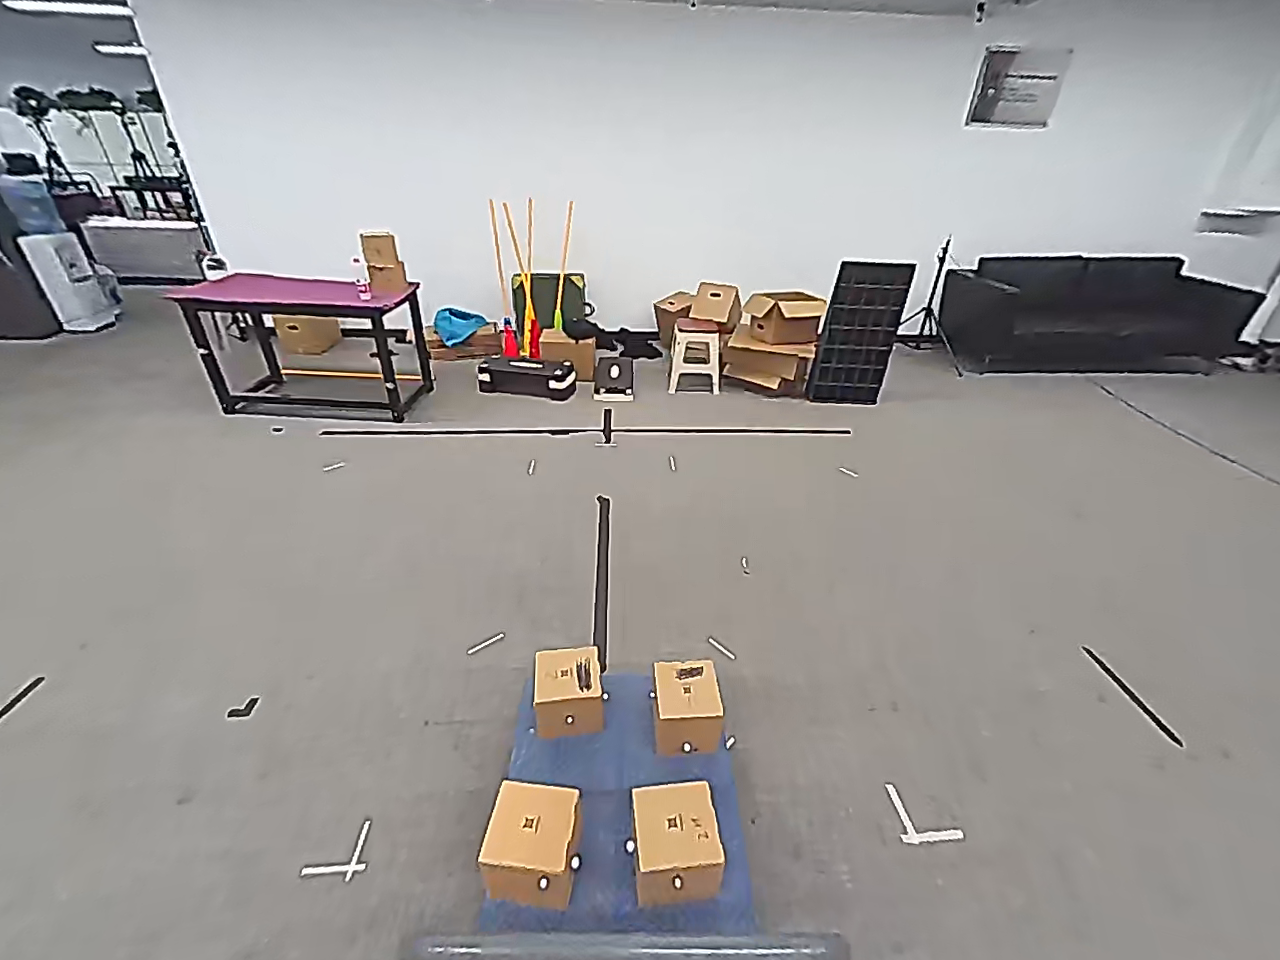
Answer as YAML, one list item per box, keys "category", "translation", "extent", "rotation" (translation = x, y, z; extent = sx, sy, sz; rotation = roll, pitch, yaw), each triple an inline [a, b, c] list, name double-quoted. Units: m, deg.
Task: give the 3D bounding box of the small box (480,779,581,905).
- category: "small box"
  translation: [-0.231, 0.791, 1.181]
  extent: [0.179, 0.176, 0.168]
  rotation: [6, 31, 3]

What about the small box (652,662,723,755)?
- category: "small box"
  translation: [0.124, 0.621, 1.475]
  extent: [0.168, 0.176, 0.179]
  rotation: [-1, 33, -4]

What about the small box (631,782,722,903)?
- category: "small box"
  translation: [0.073, 0.797, 1.189]
  extent: [0.179, 0.176, 0.168]
  rotation: [-2, 32, -6]
